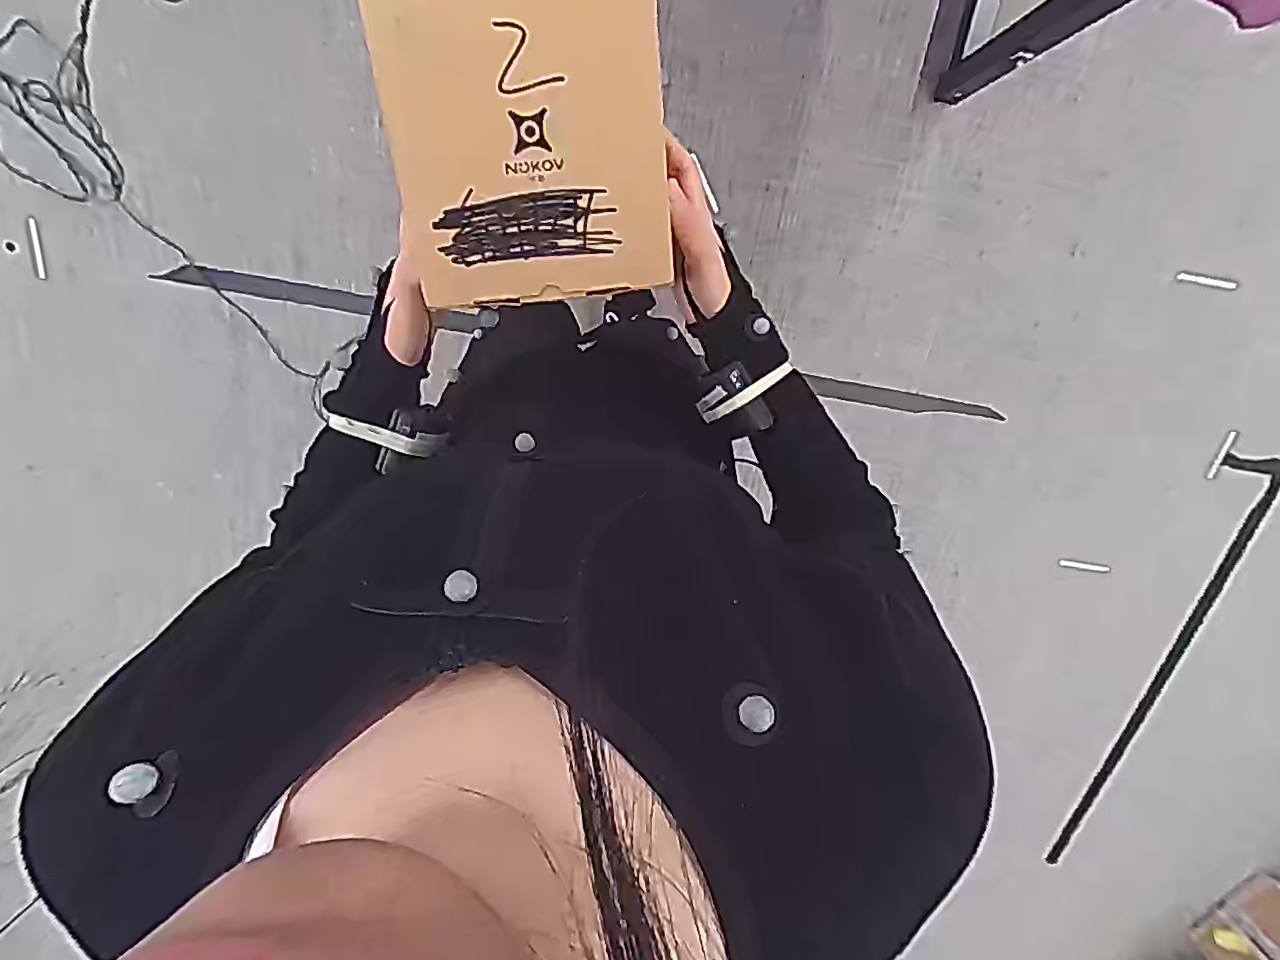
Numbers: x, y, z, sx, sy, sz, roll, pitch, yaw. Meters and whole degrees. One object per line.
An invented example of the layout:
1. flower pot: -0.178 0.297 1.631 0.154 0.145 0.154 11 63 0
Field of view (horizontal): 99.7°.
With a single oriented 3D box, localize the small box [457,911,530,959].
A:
1. small box: -0.389 1.276 1.405 0.168 0.176 0.179 8 108 -3
